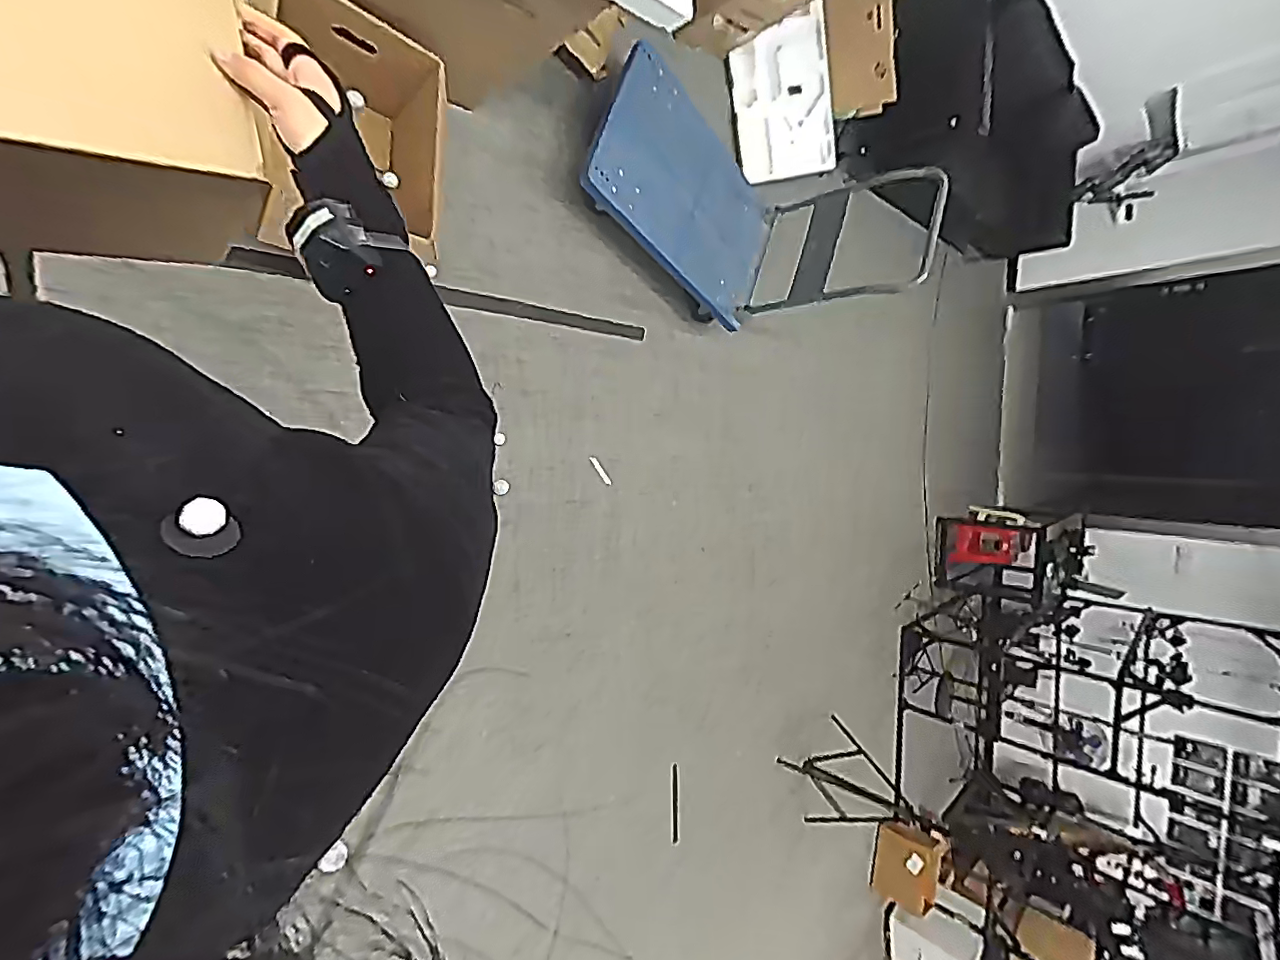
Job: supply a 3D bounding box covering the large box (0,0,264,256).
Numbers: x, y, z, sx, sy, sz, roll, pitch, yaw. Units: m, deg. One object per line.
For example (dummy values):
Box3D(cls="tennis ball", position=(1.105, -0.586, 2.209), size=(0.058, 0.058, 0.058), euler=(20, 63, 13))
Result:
Box3D(cls="large box", position=(-0.566, -0.372, 0.398), size=(0.408, 0.320, 0.320), euler=(-13, 102, -42))
